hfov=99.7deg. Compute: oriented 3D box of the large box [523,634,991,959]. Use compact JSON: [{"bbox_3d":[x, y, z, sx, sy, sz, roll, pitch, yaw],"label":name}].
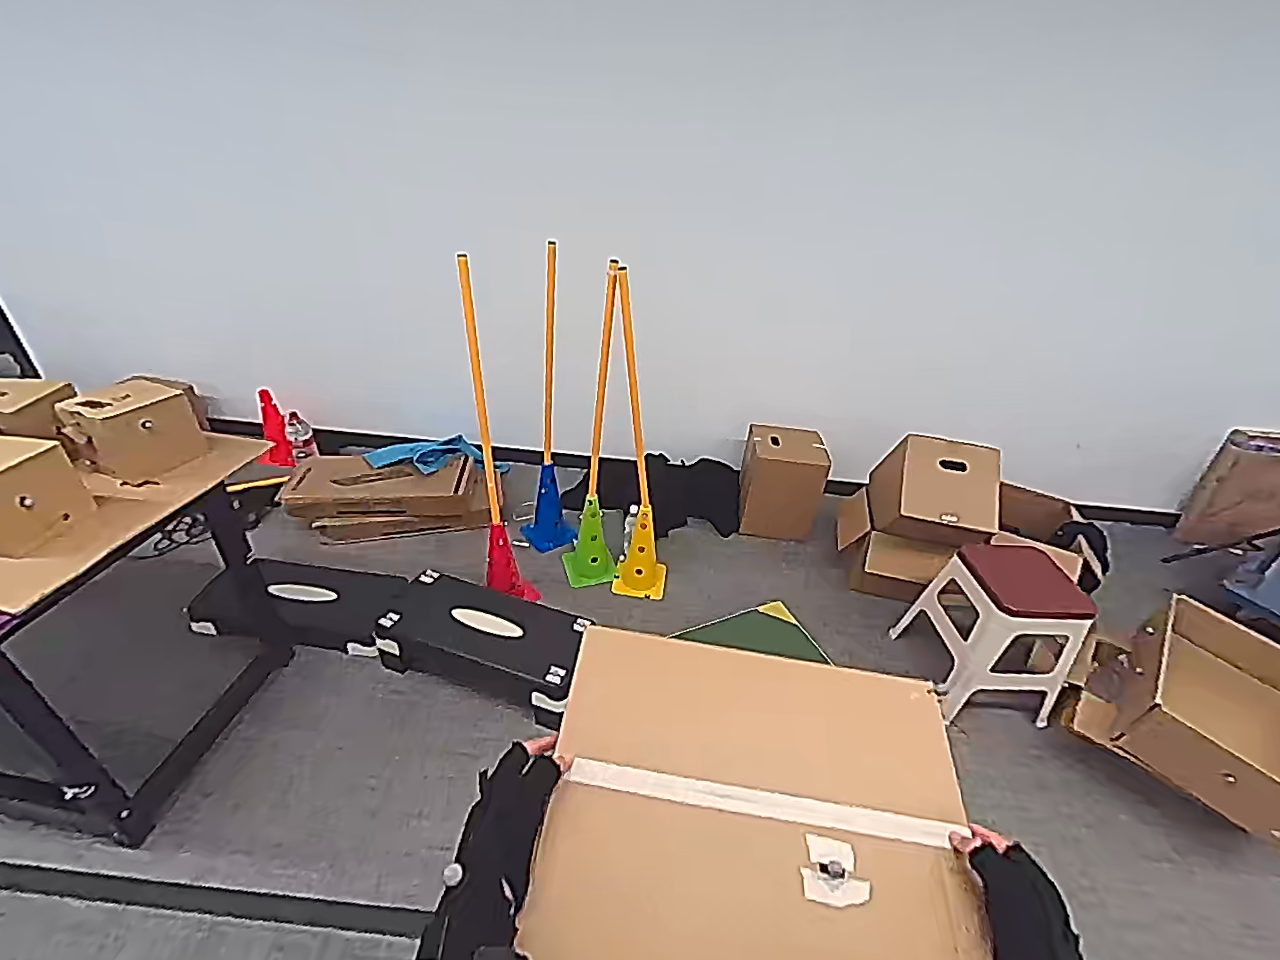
[{"bbox_3d":[0.107,0.422,0.641,0.408,0.320,0.320,9,47,3],"label":"large box"}]
